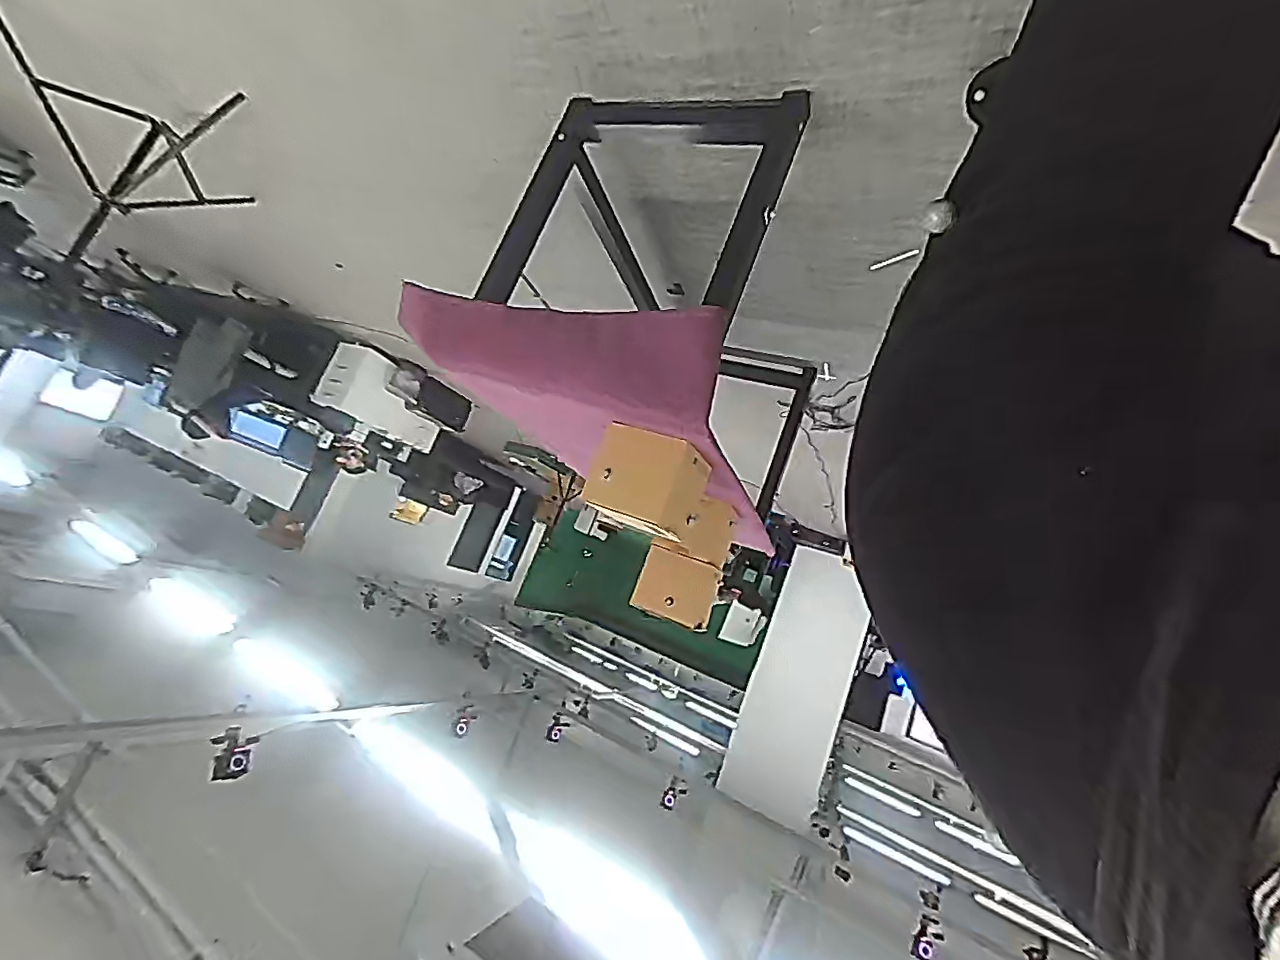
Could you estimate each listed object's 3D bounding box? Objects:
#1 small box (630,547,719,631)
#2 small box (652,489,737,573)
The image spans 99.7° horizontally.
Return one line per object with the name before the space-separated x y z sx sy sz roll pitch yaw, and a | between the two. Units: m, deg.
small box | 0.100 0.290 1.442 0.179 0.176 0.168 18 170 23
small box | 0.154 0.137 1.476 0.168 0.176 0.179 17 169 23
